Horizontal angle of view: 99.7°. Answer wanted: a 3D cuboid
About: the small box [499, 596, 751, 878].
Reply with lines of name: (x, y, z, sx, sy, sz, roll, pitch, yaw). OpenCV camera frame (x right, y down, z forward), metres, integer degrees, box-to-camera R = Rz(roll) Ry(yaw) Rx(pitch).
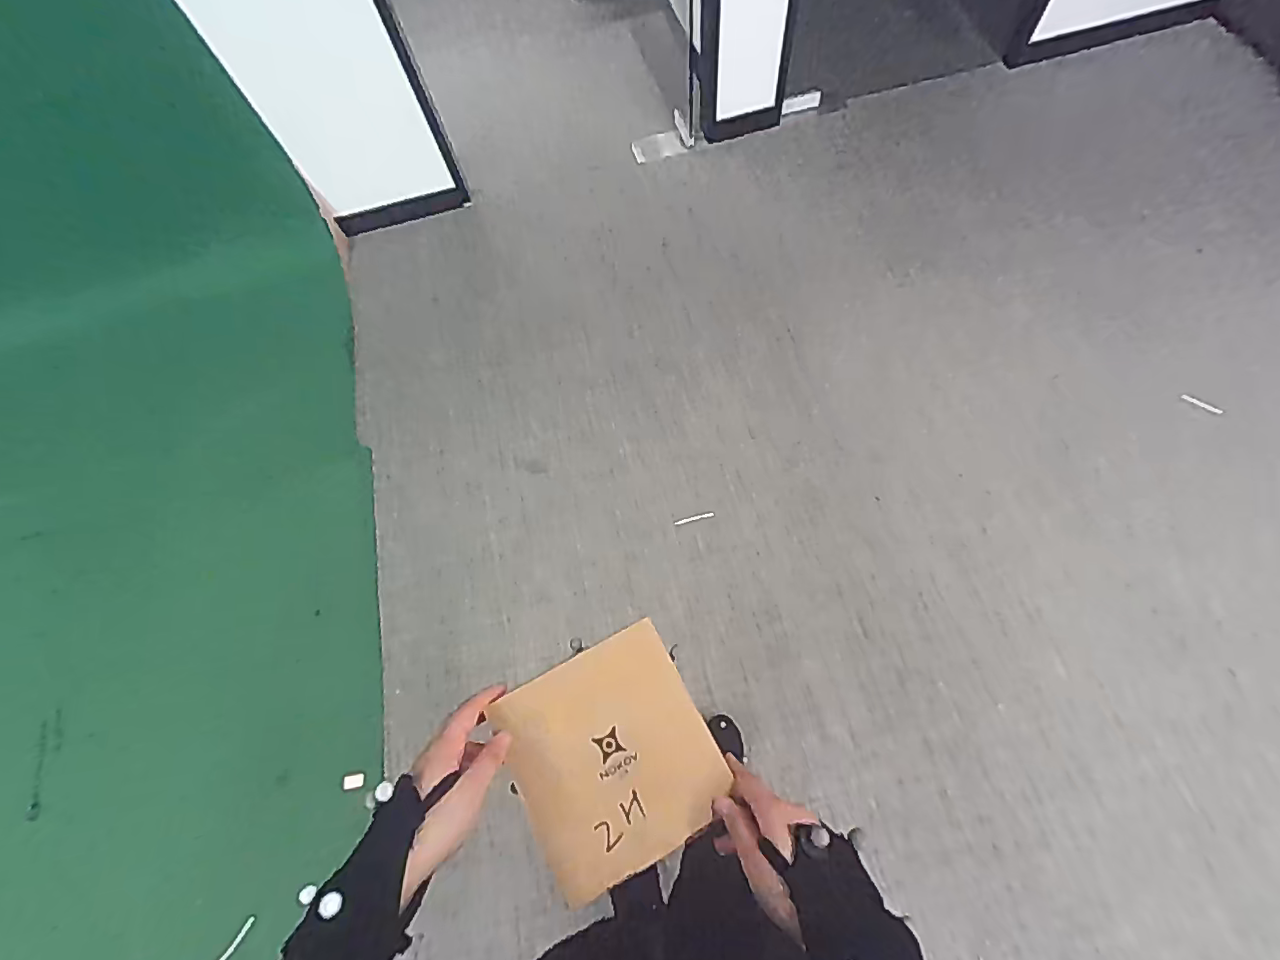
small box: (-0.017, 0.237, 0.544, 0.168, 0.176, 0.179, -28, 77, -8)
